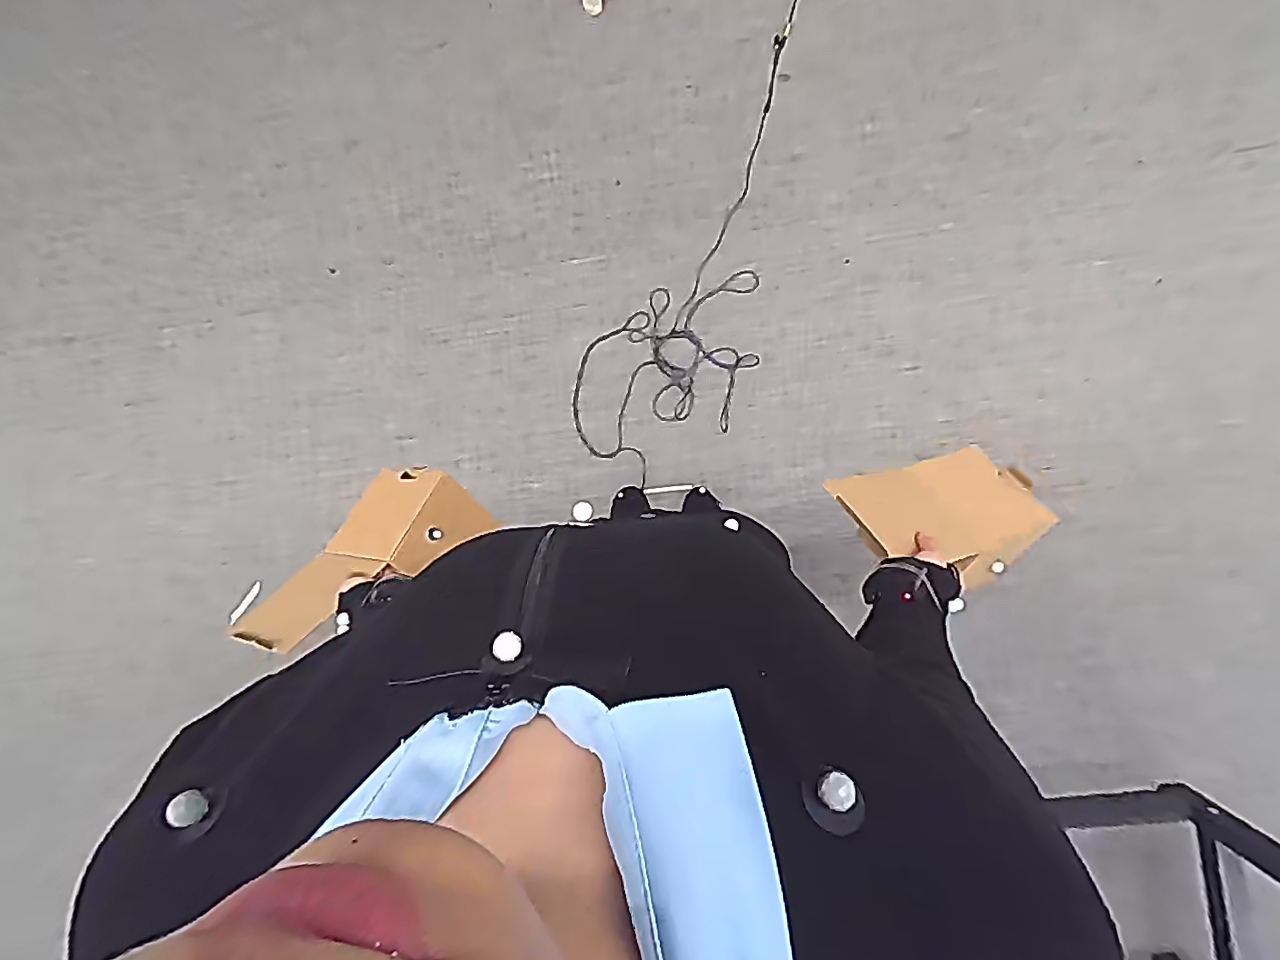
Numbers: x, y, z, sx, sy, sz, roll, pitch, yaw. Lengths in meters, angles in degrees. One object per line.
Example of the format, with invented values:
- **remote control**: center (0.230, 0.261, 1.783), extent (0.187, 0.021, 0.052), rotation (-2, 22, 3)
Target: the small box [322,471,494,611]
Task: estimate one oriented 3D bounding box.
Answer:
- **small box**: center (-0.381, 0.104, 0.921), extent (0.168, 0.176, 0.179), rotation (2, 53, 29)
